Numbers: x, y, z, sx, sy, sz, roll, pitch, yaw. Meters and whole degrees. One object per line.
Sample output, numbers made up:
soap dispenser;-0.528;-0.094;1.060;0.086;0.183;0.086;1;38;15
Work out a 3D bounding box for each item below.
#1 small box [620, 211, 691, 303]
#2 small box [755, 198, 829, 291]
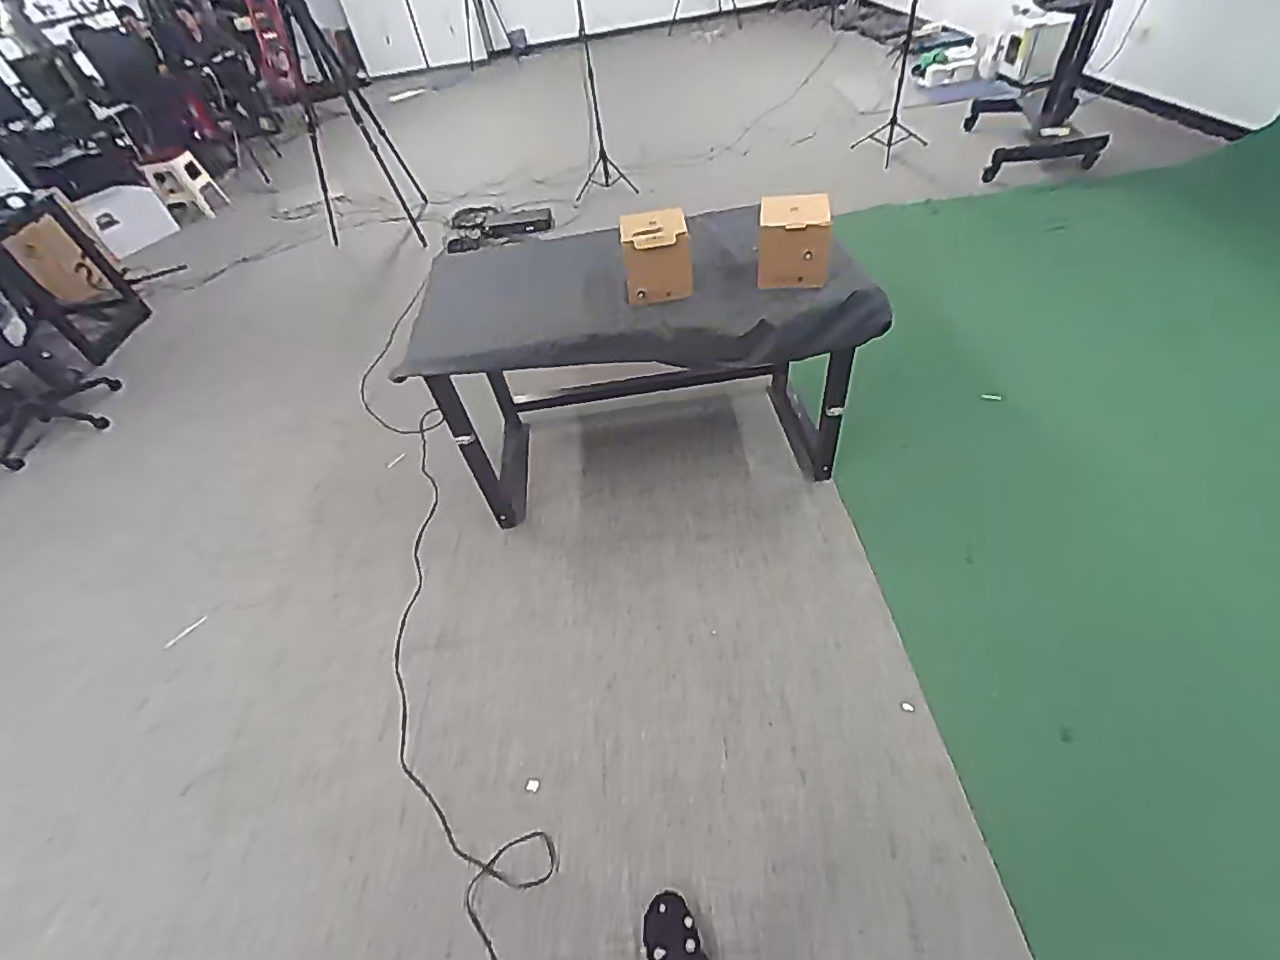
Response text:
small box;0.041;-0.581;1.426;0.168;0.176;0.179;-7;46;3
small box;0.386;-0.600;1.388;0.168;0.176;0.179;2;46;11
